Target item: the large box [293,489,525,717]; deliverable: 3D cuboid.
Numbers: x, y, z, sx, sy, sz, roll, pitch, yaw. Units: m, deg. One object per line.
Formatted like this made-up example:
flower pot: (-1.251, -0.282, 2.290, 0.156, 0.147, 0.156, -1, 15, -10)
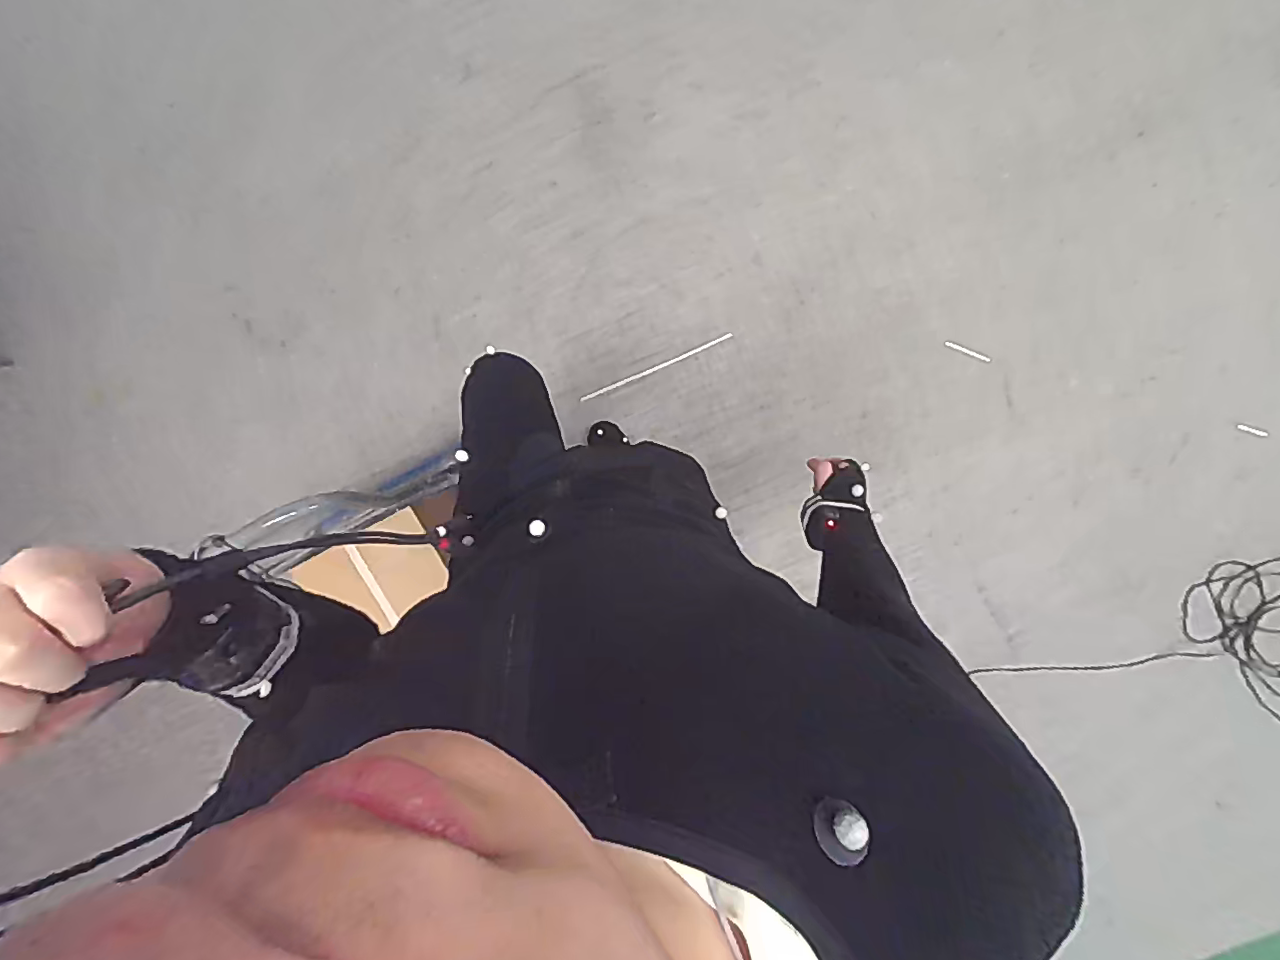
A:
large box: (-0.538, 0.278, 1.342, 0.320, 0.320, 0.408, -27, 96, 3)
